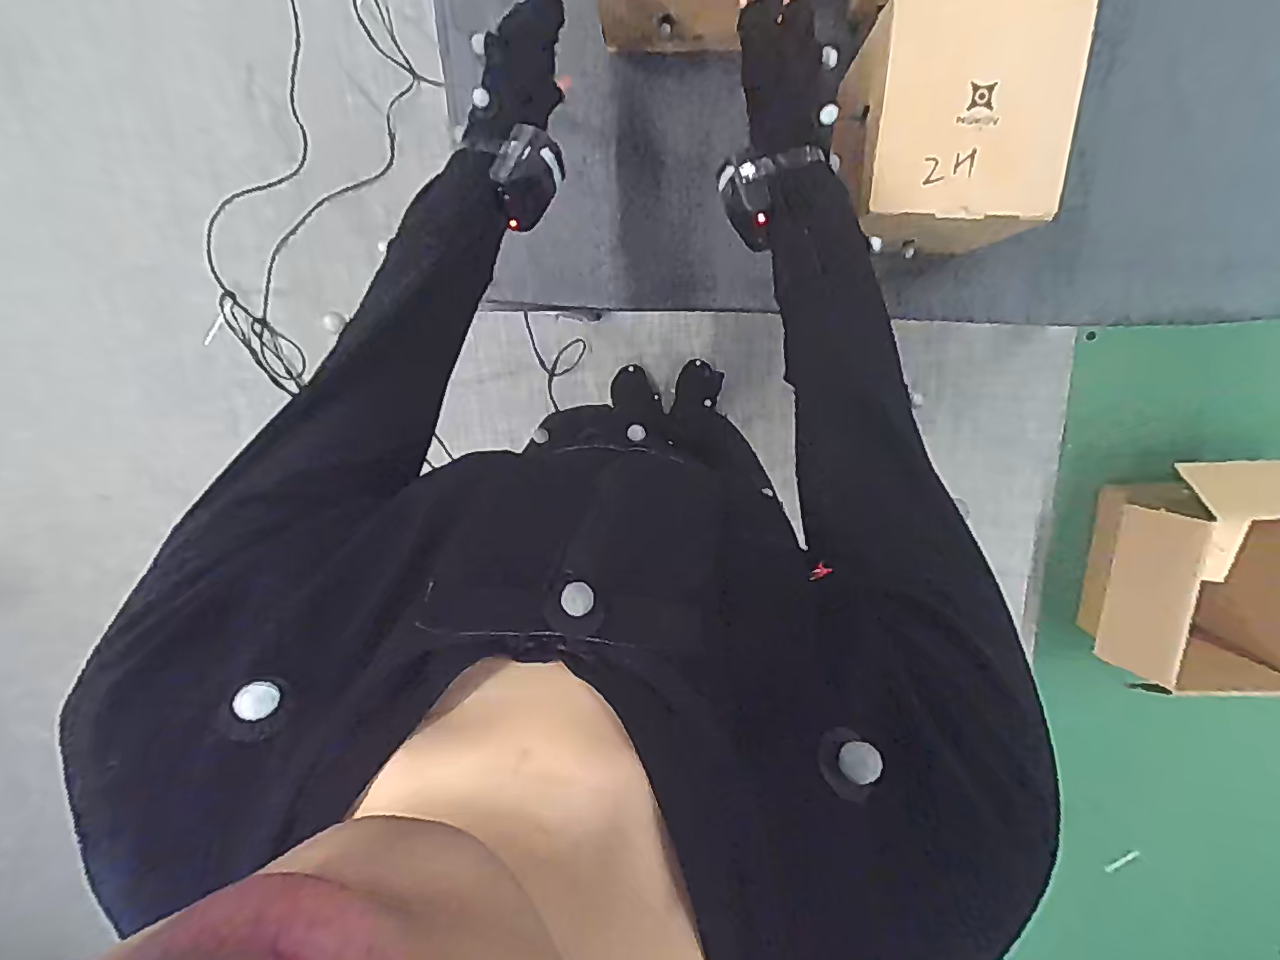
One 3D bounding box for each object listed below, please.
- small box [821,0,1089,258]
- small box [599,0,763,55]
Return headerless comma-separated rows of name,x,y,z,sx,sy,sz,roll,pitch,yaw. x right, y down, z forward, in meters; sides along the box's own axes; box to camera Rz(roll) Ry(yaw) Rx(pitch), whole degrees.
small box,0.294,-0.337,0.549,0.168,0.176,0.179,3,104,3
small box,0.040,-0.549,0.514,0.168,0.176,0.179,2,105,3
